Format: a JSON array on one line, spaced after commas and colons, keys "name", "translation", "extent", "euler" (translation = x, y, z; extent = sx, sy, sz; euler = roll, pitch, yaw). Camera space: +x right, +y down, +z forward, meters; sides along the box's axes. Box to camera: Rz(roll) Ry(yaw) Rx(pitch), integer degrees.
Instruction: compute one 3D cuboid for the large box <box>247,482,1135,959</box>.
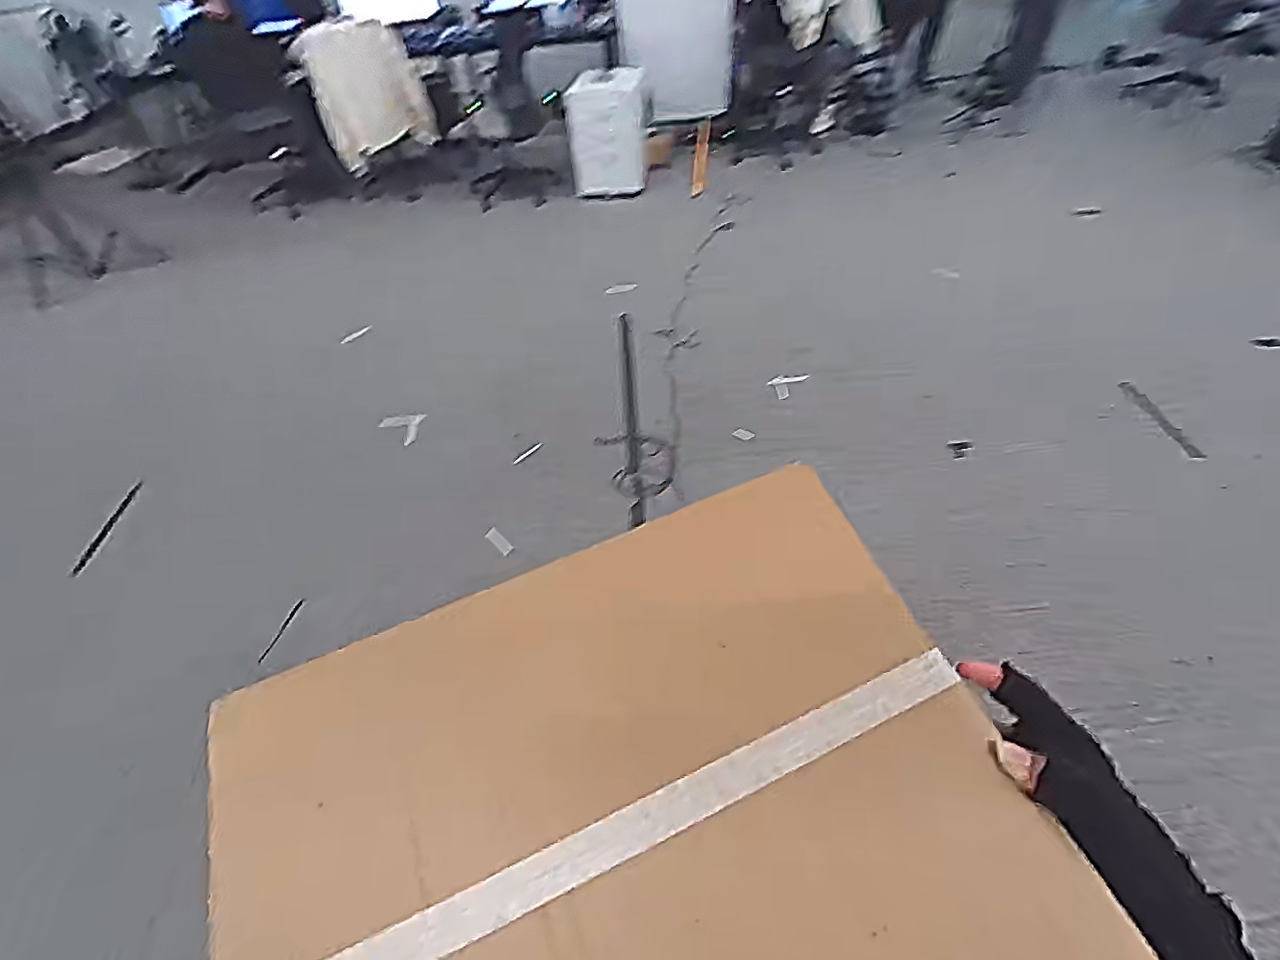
[{"name": "large box", "translation": [0.008, 0.264, 0.420], "extent": [0.408, 0.320, 0.320], "euler": [-21, 60, -9]}]
